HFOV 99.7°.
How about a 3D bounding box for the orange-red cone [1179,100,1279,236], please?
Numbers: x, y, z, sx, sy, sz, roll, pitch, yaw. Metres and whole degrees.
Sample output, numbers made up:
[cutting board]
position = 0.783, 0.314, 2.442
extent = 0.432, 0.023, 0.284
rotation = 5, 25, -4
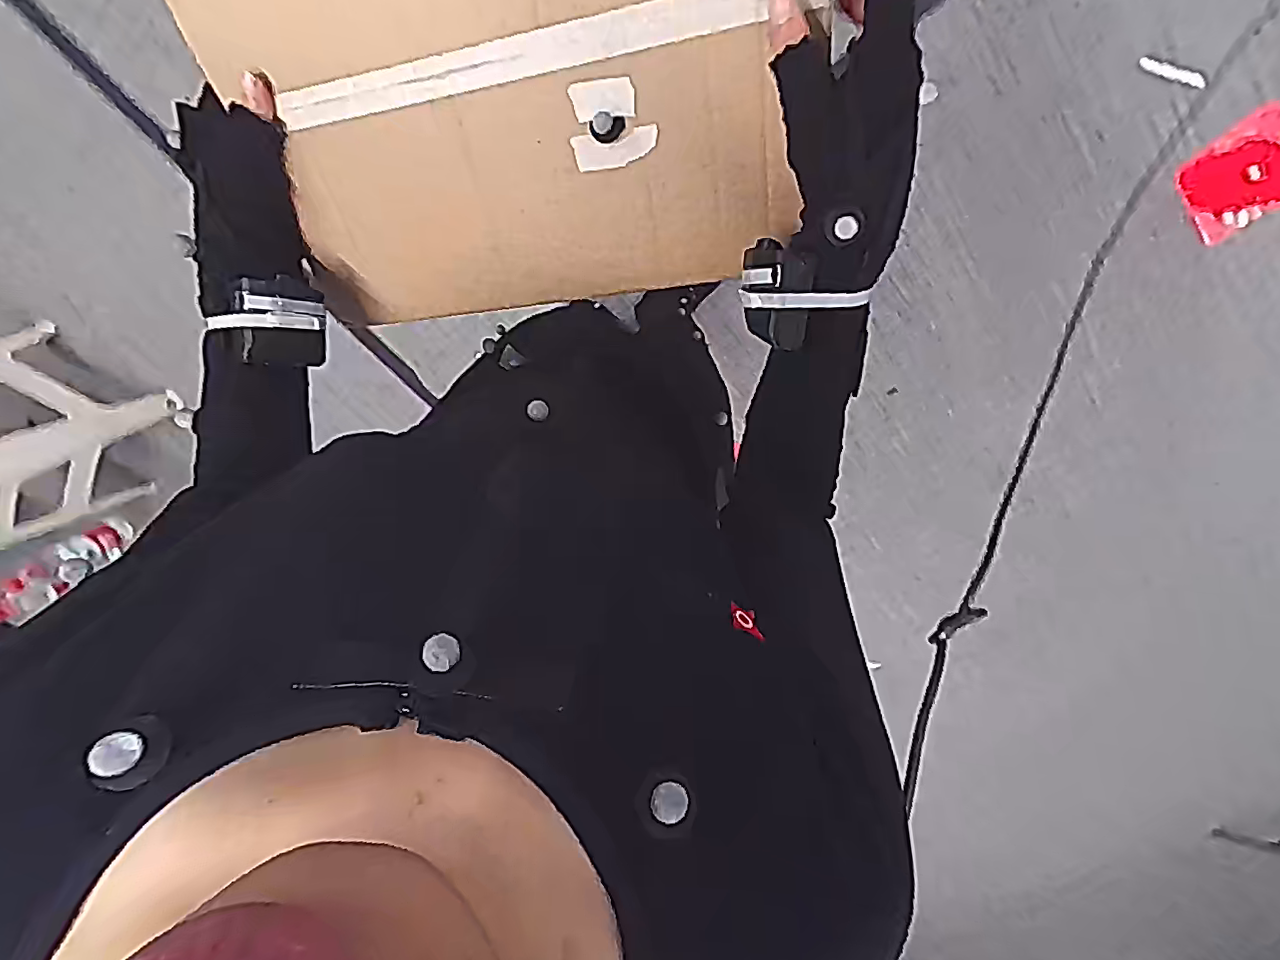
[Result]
[orange-red cone]
position = 1.271, -0.579, 0.999
extent = 0.199, 0.360, 0.198
rotation = -38, 110, 19

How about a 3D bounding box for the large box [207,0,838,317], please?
[large box]
position = -0.063, -0.367, 0.466
extent = 0.408, 0.320, 0.320
rotation = -3, 128, 11
